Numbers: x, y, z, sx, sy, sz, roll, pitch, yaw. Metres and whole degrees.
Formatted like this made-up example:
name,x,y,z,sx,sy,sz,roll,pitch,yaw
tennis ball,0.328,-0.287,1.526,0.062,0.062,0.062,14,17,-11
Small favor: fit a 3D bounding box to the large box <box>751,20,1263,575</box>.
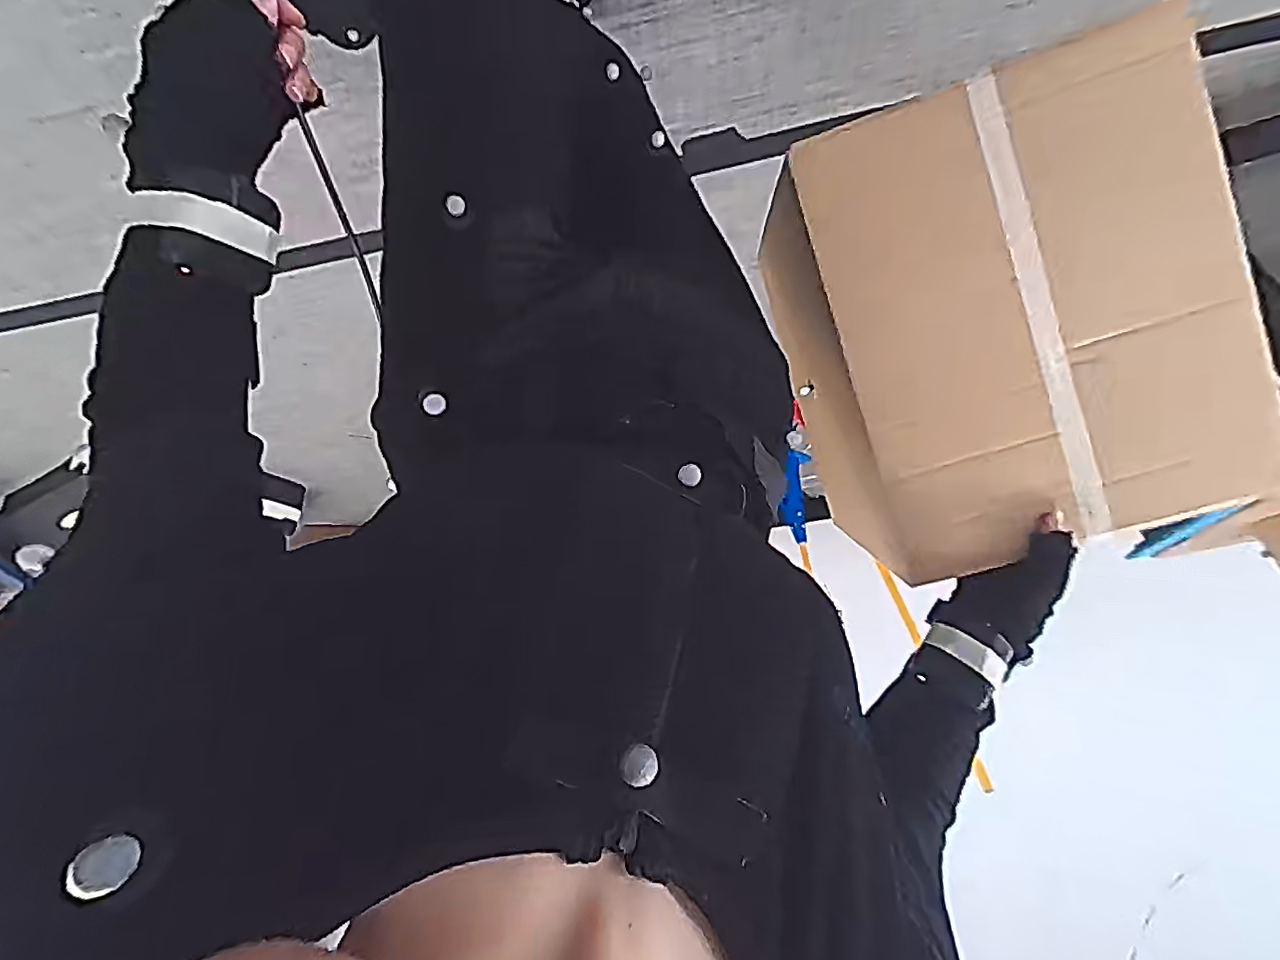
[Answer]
name,x,y,z,sx,sy,sz,roll,pitch,yaw
large box,0.341,-0.158,0.614,0.320,0.408,0.320,-17,-176,10
